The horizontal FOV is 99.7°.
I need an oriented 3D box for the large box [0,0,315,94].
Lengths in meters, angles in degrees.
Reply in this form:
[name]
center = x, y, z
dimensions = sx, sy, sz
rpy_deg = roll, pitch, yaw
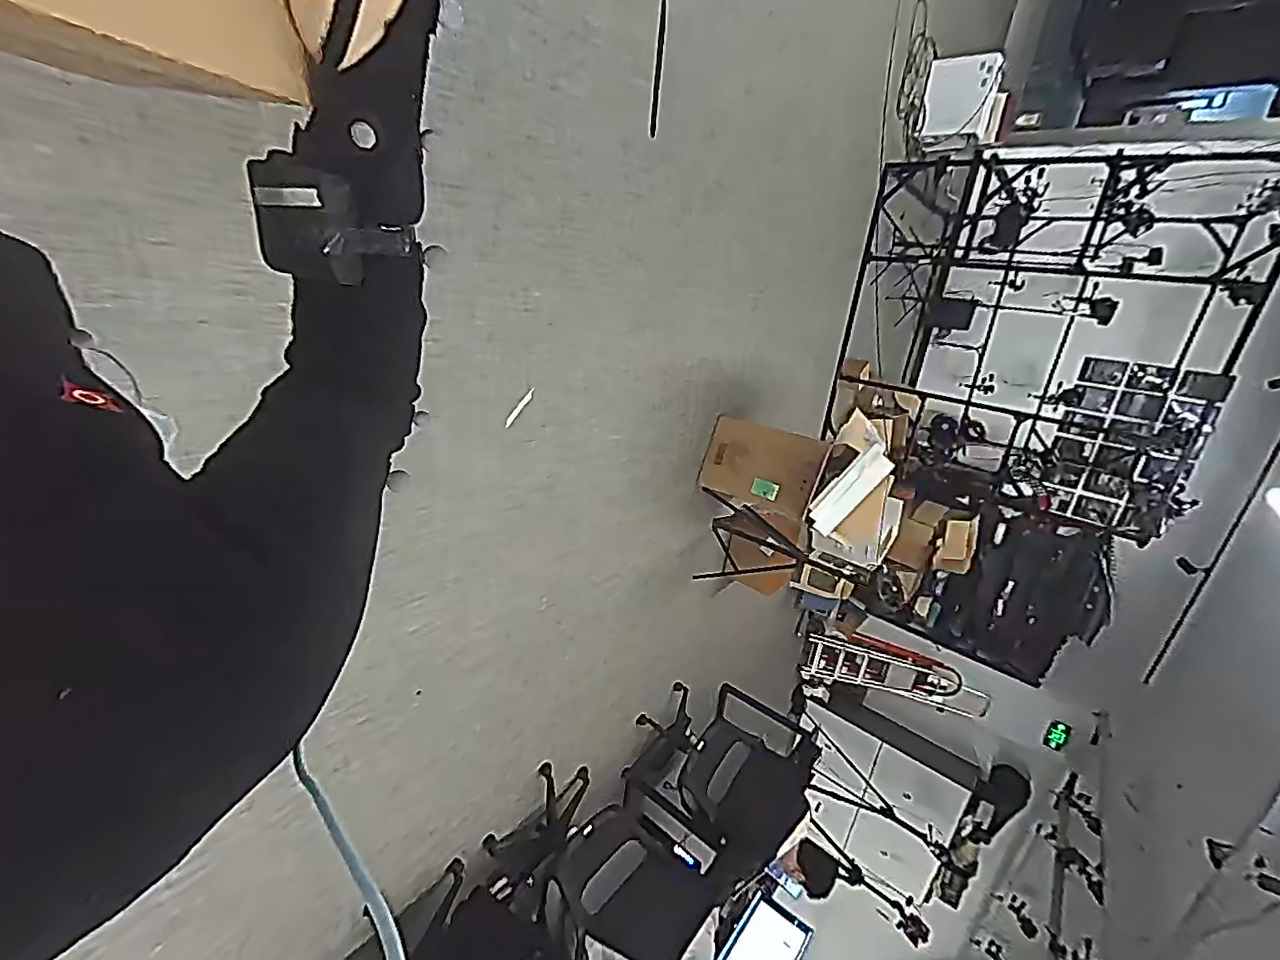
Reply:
[large box]
center = -0.379, -0.362, 0.150
dimensions = 0.408, 0.320, 0.320
rpy_deg = -19, 130, -54
